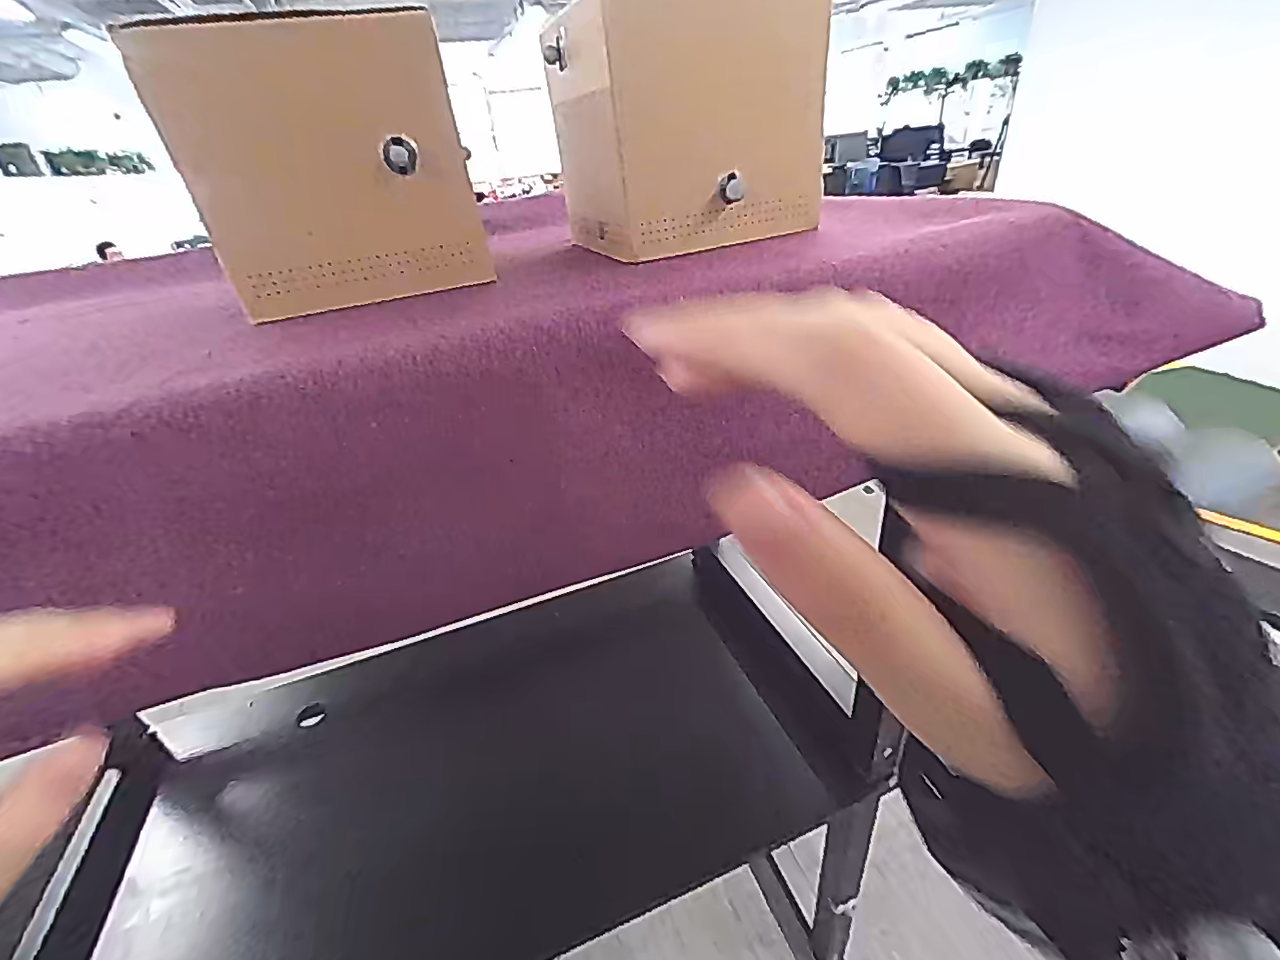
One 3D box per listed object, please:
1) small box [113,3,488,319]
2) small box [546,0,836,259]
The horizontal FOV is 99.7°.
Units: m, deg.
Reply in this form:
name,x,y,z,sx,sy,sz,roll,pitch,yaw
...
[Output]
name,x,y,z,sx,sy,sz,roll,pitch,yaw
small box,-0.224,-0.238,0.420,0.179,0.176,0.168,-16,32,-14
small box,0.035,-0.295,0.455,0.179,0.176,0.168,-17,32,-16
